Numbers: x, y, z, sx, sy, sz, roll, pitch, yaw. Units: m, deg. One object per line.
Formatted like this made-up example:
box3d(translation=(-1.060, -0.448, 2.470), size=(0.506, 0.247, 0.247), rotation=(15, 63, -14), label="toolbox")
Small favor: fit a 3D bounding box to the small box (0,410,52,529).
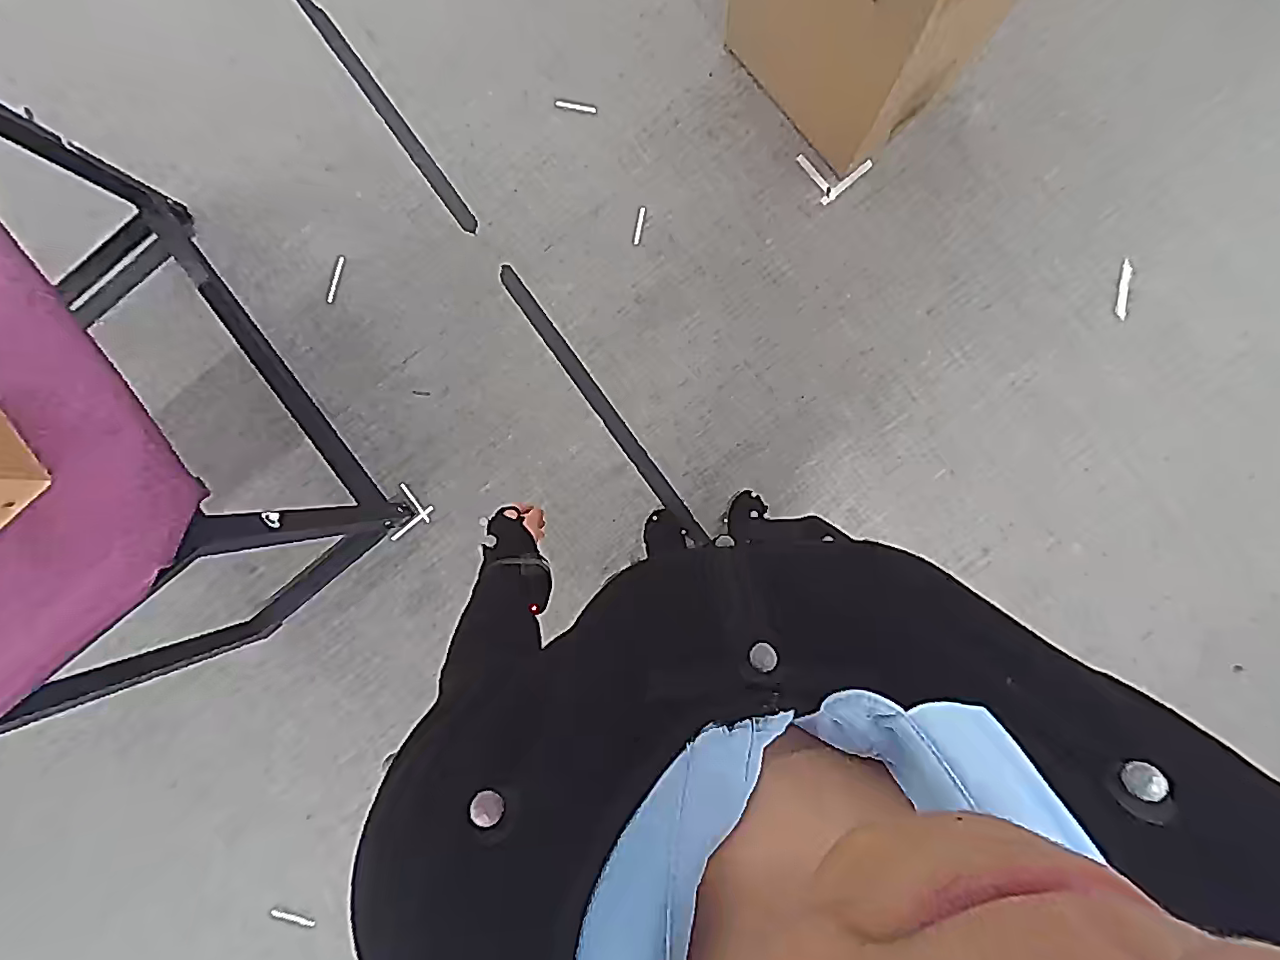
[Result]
box3d(translation=(-1.038, -0.010, 0.782), size=(0.168, 0.176, 0.179), rotation=(-41, 86, 2), label="small box")
